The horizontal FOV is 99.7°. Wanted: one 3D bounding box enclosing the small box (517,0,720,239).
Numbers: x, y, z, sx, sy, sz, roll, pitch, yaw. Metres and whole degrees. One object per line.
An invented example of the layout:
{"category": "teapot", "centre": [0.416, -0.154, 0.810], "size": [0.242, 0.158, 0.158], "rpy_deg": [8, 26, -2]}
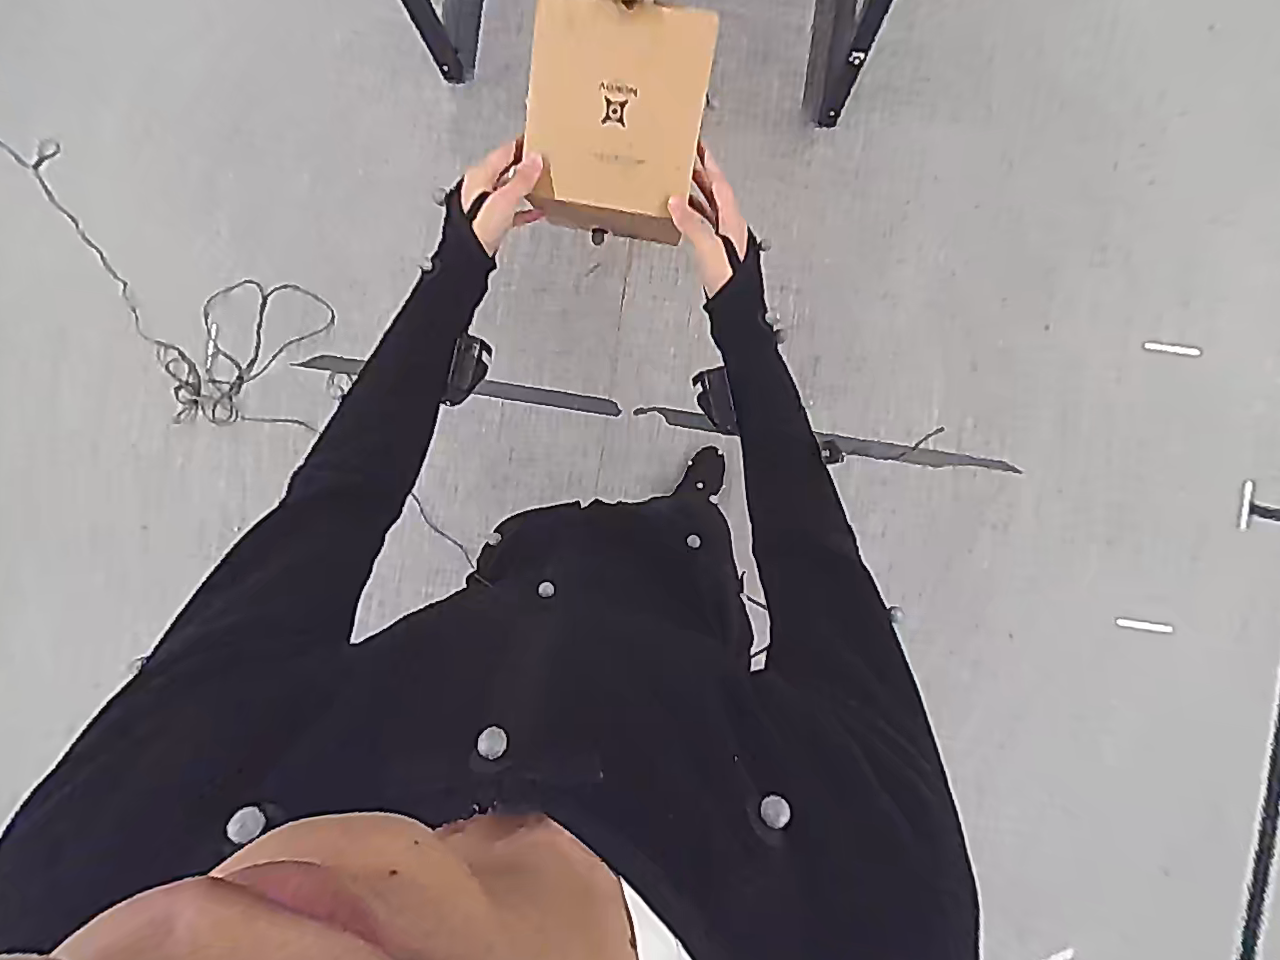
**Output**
{"category": "small box", "centre": [-0.020, -0.370, 0.566], "size": [0.168, 0.176, 0.179], "rpy_deg": [9, 105, 0]}
